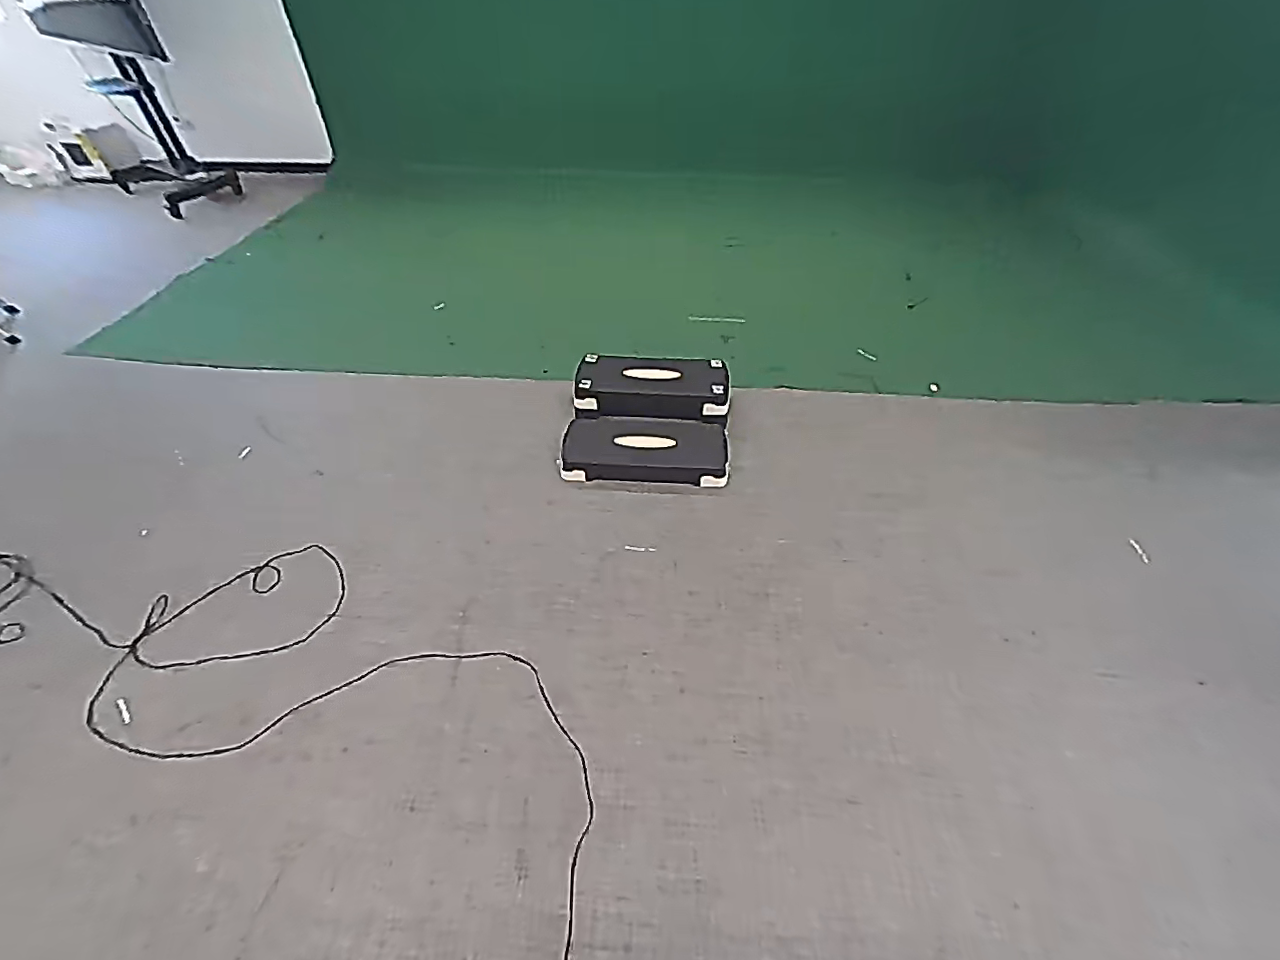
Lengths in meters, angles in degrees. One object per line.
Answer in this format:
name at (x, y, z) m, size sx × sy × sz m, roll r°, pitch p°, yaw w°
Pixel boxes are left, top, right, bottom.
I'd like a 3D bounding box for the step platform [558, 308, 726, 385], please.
step platform at (0.010, -0.560, 2.275) m, size 0.684 × 0.204 × 0.286 m, roll 2°, pitch 45°, yaw 3°
